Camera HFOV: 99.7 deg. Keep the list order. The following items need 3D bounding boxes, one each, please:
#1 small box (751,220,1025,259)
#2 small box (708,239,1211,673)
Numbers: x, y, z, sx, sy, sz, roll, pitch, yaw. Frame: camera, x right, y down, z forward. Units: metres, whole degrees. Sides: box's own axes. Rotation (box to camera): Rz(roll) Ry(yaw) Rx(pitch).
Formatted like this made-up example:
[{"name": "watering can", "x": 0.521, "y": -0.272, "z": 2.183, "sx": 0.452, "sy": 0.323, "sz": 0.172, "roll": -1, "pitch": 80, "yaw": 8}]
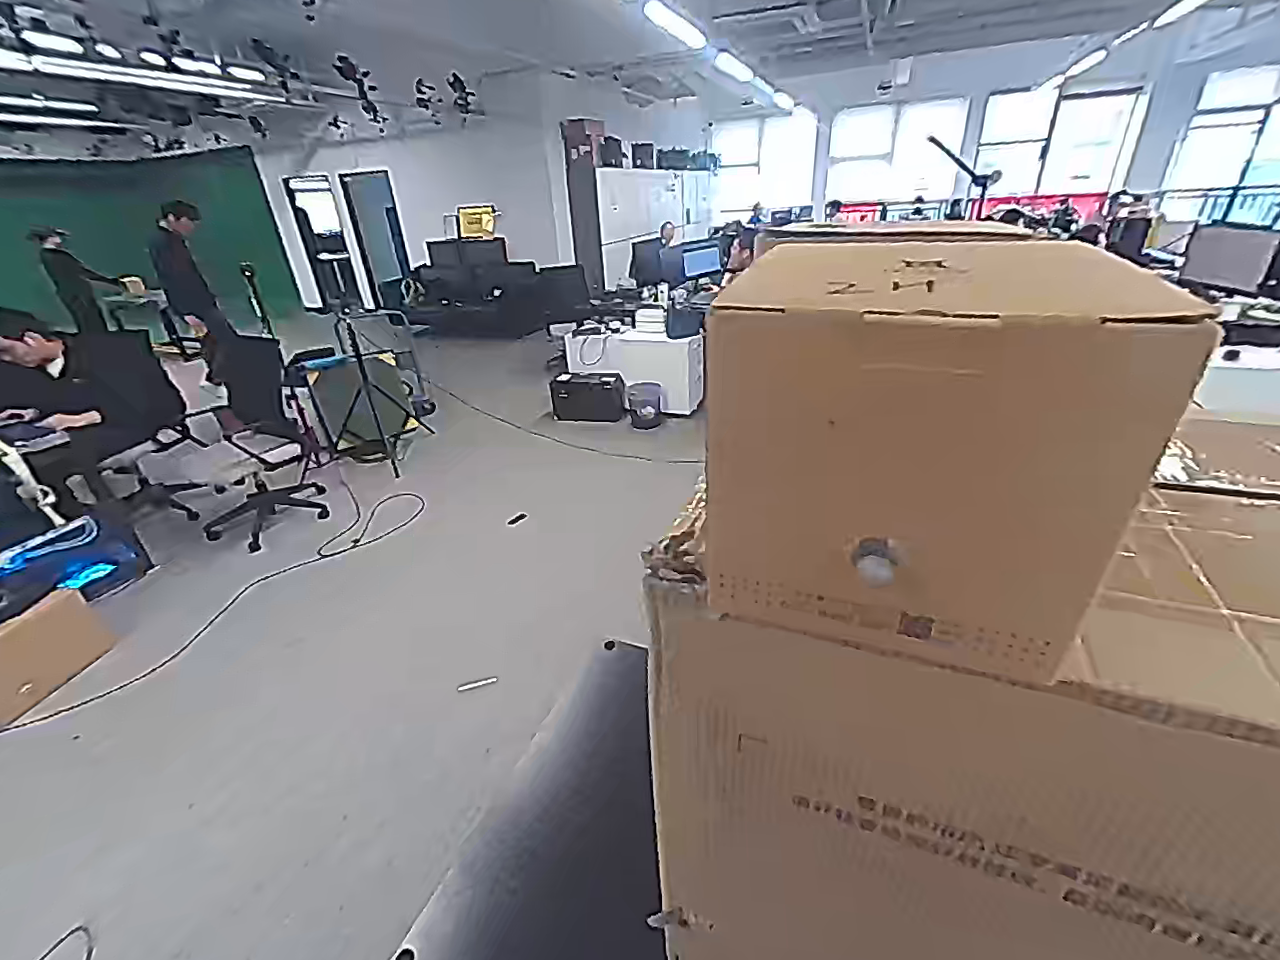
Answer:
[{"name": "small box", "x": 0.194, "y": -0.127, "z": 0.466, "sx": 0.179, "sy": 0.176, "sz": 0.168, "roll": 10, "pitch": 29, "yaw": 21}, {"name": "small box", "x": 0.138, "y": -0.031, "z": 0.300, "sx": 0.168, "sy": 0.176, "sz": 0.179, "roll": 8, "pitch": 33, "yaw": 21}]
